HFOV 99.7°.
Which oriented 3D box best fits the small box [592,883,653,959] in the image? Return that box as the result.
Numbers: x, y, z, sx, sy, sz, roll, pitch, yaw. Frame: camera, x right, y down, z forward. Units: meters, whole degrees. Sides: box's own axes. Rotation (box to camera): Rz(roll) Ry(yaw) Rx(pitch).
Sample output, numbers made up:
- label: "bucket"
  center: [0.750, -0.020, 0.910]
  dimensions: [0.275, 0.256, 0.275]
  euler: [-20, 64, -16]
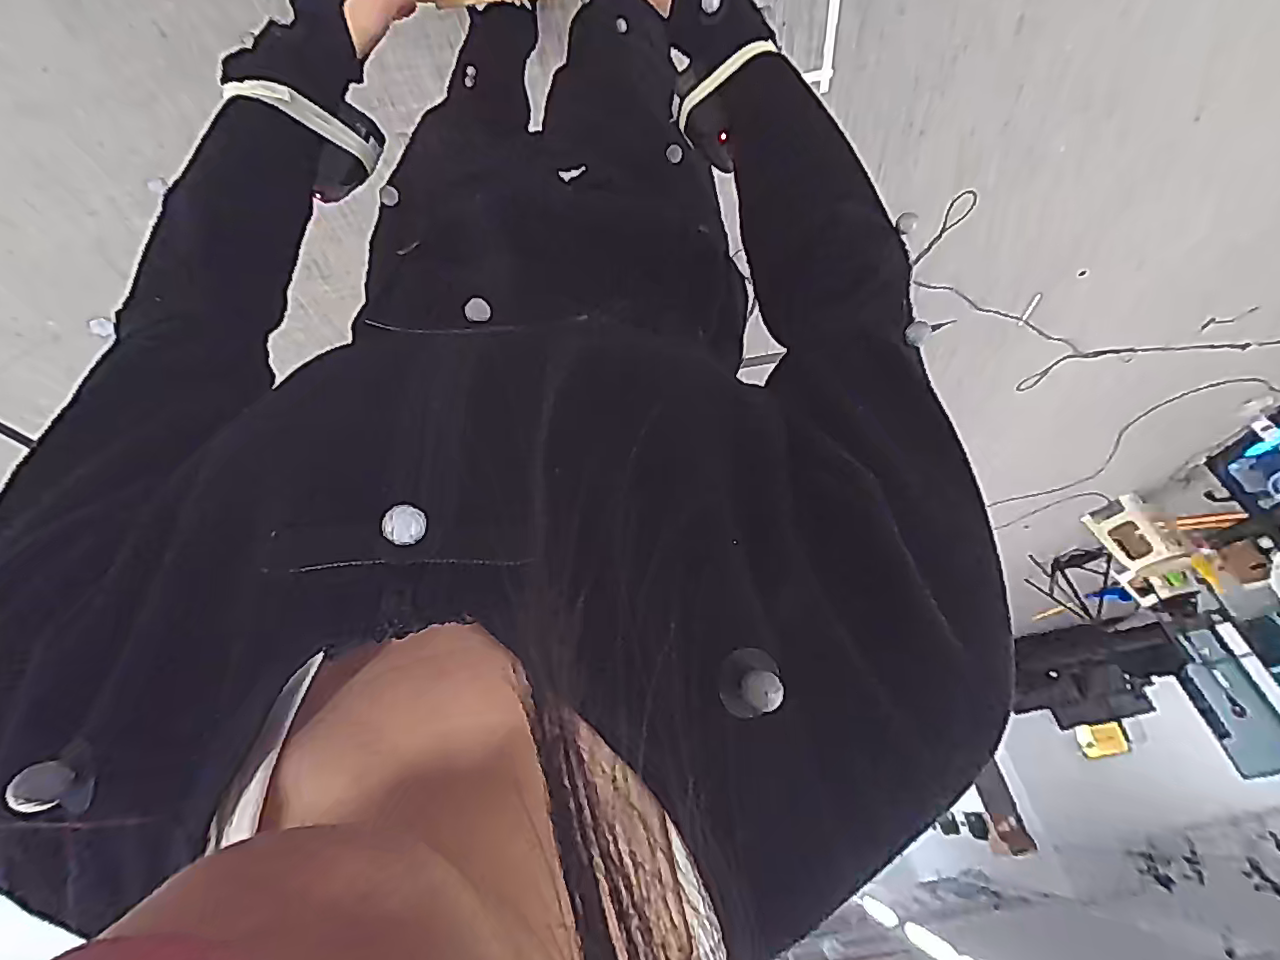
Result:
- label: "small box"
  center: [-0.056, 1.420, 1.739]
  dimensions: [0.168, 0.176, 0.179]
  euler: [-11, 149, -1]

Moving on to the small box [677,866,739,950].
- label: "small box"
  center: [0.214, 1.367, 1.737]
  dimensions: [0.168, 0.176, 0.179]
  euler: [-11, 151, 1]

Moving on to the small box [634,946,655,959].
- label: "small box"
  center: [-0.030, 1.558, 1.655]
  dimensions: [0.168, 0.176, 0.179]
  euler: [-10, 148, -1]
